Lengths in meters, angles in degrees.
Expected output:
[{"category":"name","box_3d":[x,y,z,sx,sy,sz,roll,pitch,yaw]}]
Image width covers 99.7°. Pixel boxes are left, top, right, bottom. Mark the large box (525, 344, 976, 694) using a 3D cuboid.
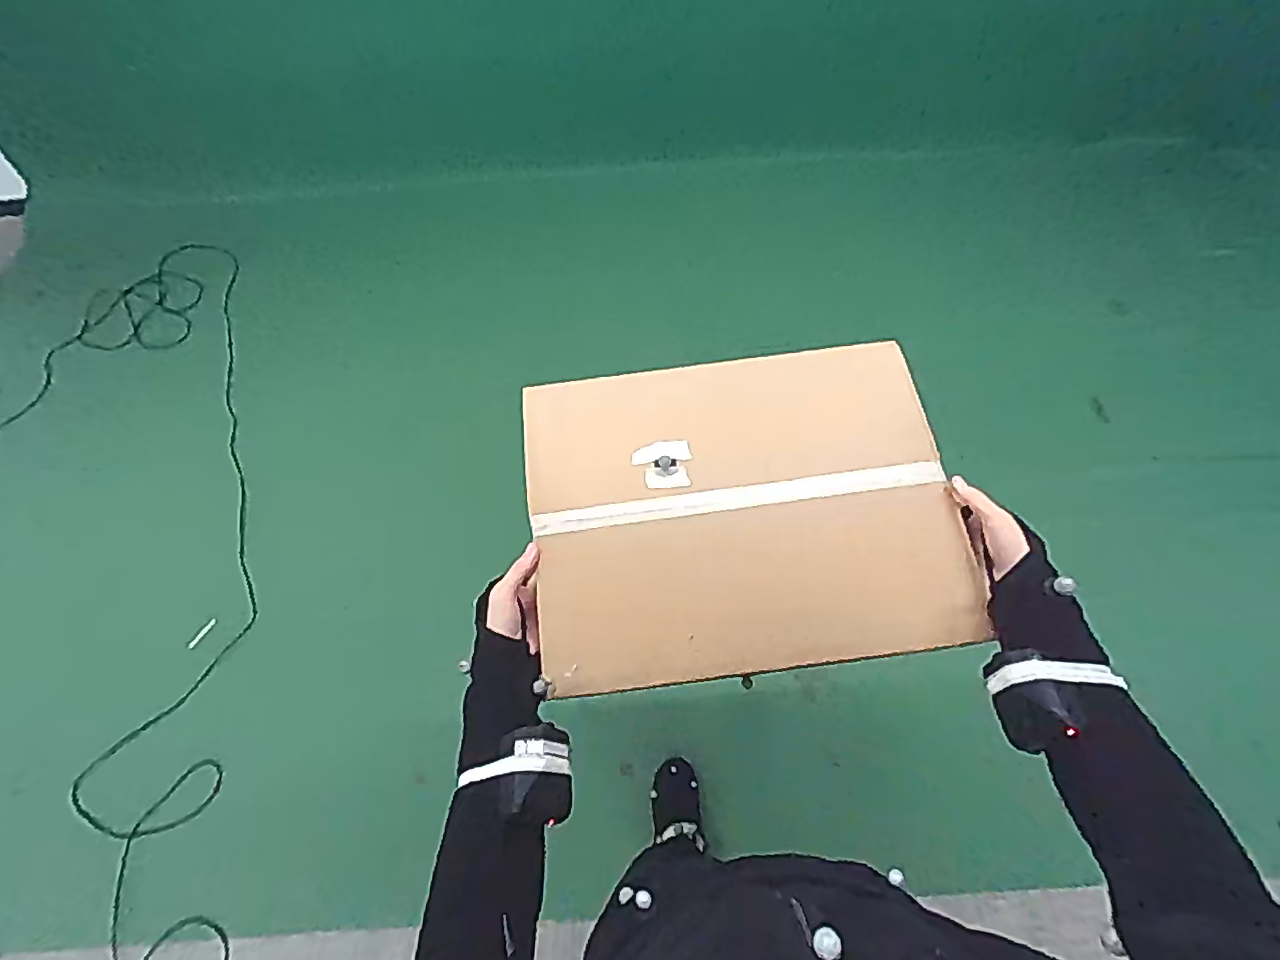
[{"category":"large box","box_3d":[0.100,0.071,0.678,0.408,0.320,0.320,-8,70,0]}]
